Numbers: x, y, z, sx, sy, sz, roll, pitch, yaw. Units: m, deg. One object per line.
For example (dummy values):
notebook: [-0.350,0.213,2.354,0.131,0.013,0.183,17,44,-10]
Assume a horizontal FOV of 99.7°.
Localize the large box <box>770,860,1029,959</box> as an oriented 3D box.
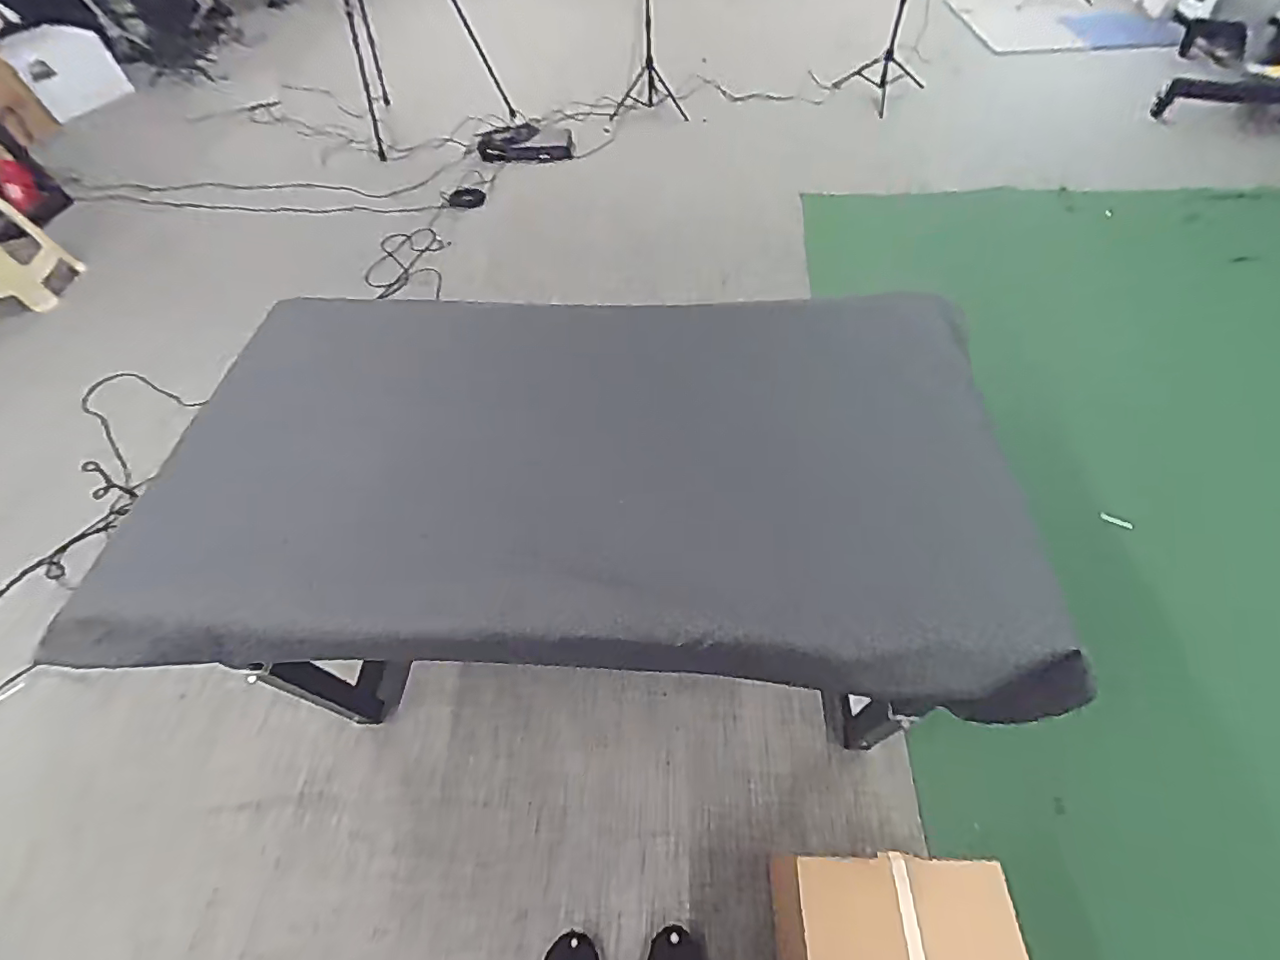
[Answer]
large box: [0.402,0.838,0.839,0.320,0.320,0.408,-1,54,3]
